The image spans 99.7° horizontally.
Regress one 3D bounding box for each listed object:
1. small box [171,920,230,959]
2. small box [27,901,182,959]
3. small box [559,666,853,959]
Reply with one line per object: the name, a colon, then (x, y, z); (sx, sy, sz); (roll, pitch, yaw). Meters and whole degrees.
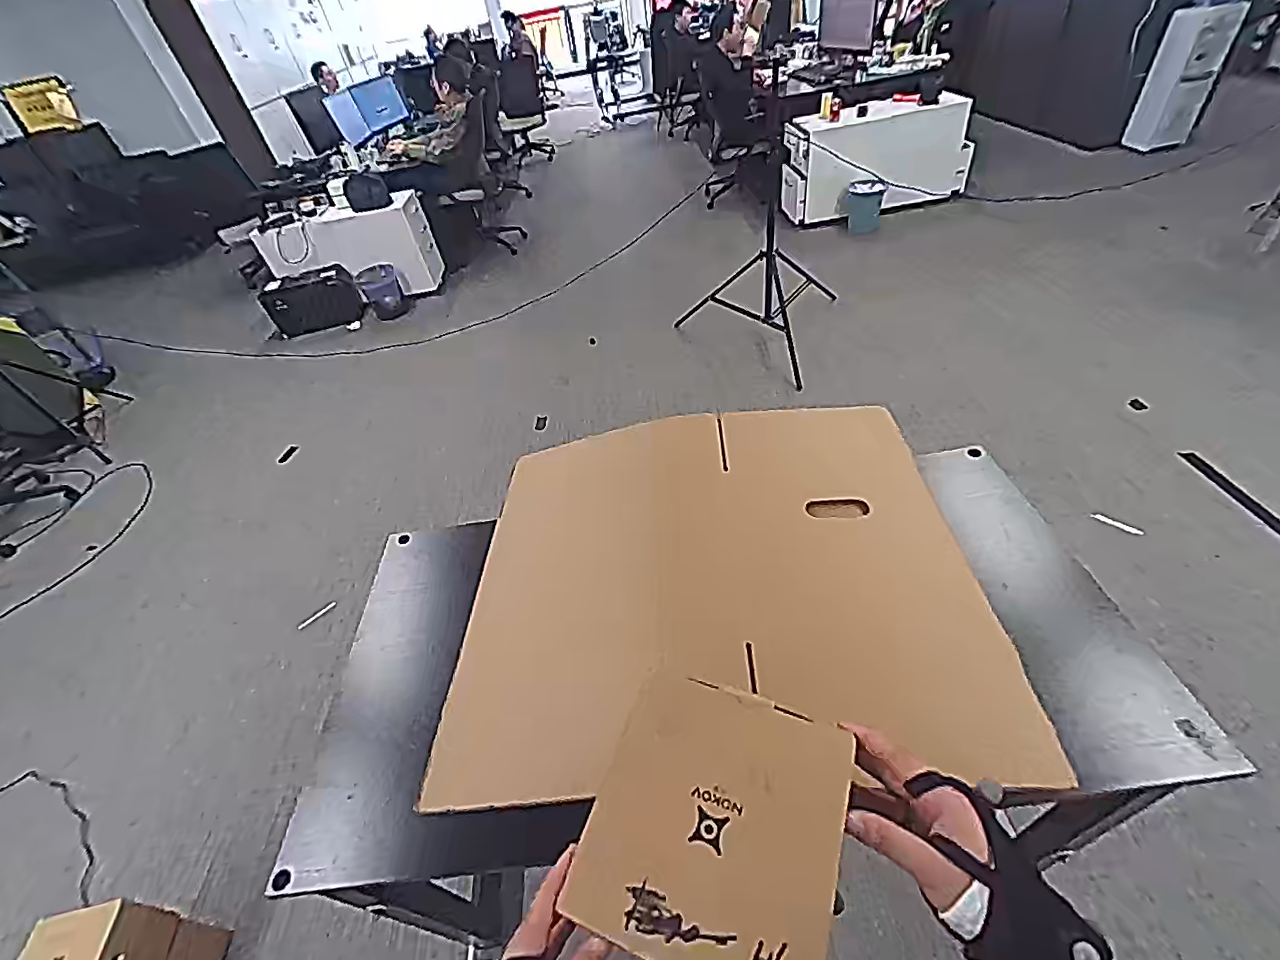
small box: (-1.037, 1.088, 1.165); (0.168, 0.176, 0.179); (-12, 43, 0)
small box: (-1.063, 0.967, 1.060); (0.168, 0.176, 0.179); (-13, 41, -3)
small box: (0.062, 0.287, 0.432); (0.168, 0.176, 0.179); (11, 49, 22)
